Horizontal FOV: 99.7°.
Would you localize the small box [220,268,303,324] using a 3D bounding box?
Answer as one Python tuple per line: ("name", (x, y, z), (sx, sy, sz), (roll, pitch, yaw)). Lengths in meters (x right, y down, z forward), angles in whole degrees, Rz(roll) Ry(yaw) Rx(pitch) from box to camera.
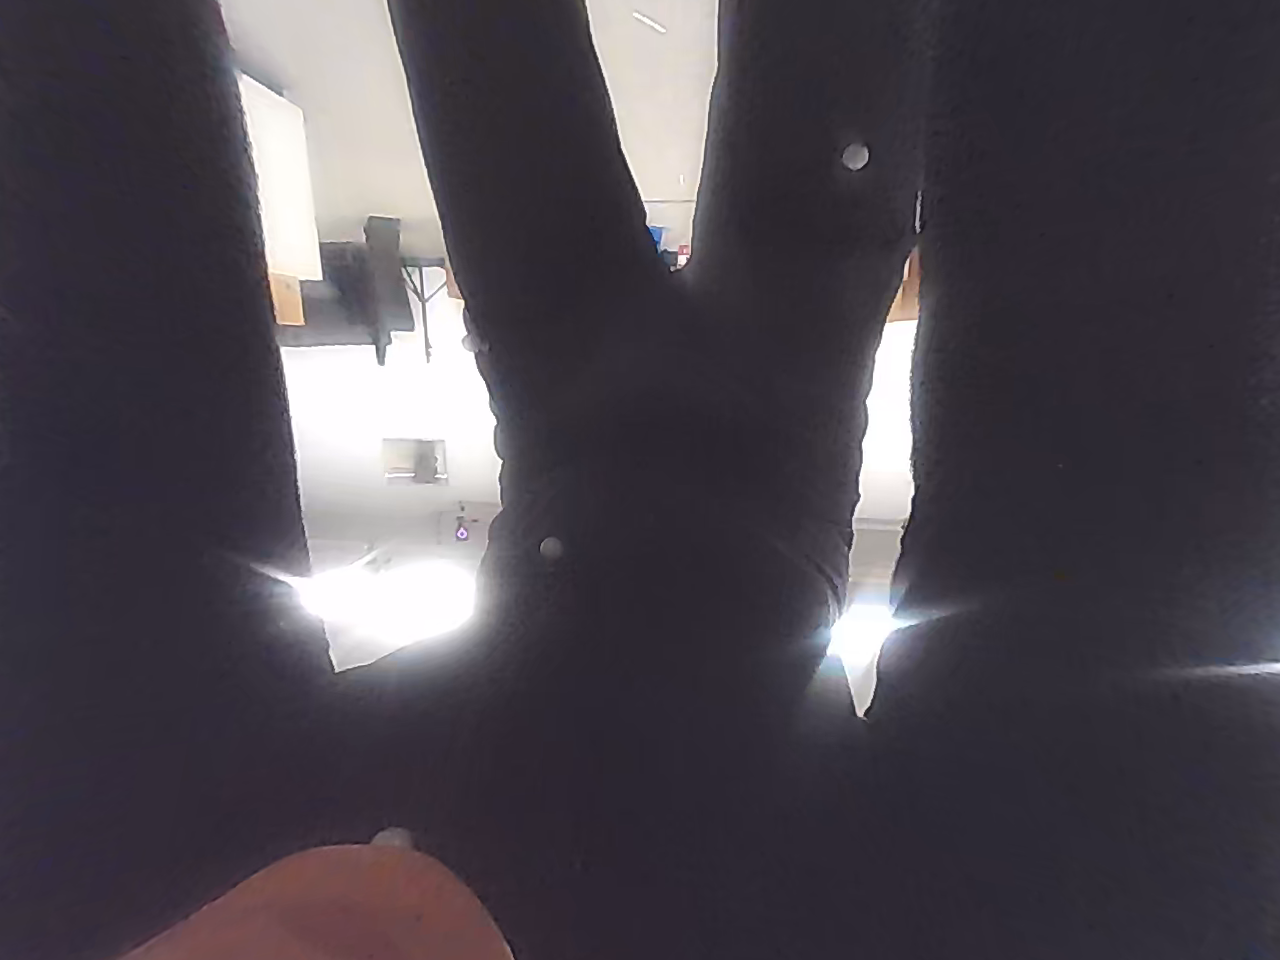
("small box", (-1.307, -0.632, 1.867), (0.179, 0.176, 0.168), (2, -165, 3))
